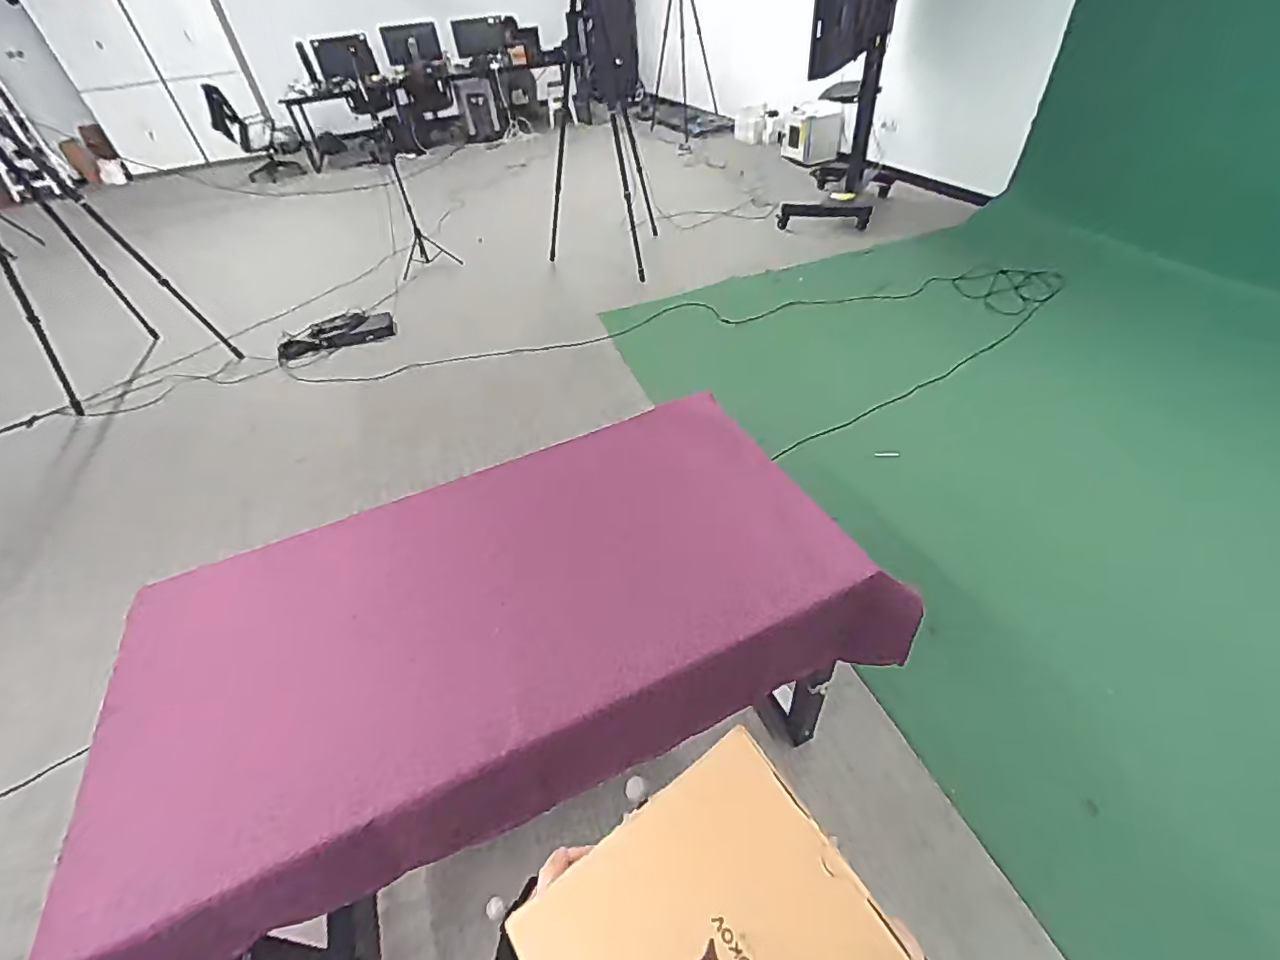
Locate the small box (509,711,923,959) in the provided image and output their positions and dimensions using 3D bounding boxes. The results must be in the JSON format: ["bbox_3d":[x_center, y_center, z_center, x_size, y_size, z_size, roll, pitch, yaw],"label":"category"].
[{"bbox_3d":[0.049,0.285,0.360,0.179,0.176,0.168,-35,63,-11],"label":"small box"}]
